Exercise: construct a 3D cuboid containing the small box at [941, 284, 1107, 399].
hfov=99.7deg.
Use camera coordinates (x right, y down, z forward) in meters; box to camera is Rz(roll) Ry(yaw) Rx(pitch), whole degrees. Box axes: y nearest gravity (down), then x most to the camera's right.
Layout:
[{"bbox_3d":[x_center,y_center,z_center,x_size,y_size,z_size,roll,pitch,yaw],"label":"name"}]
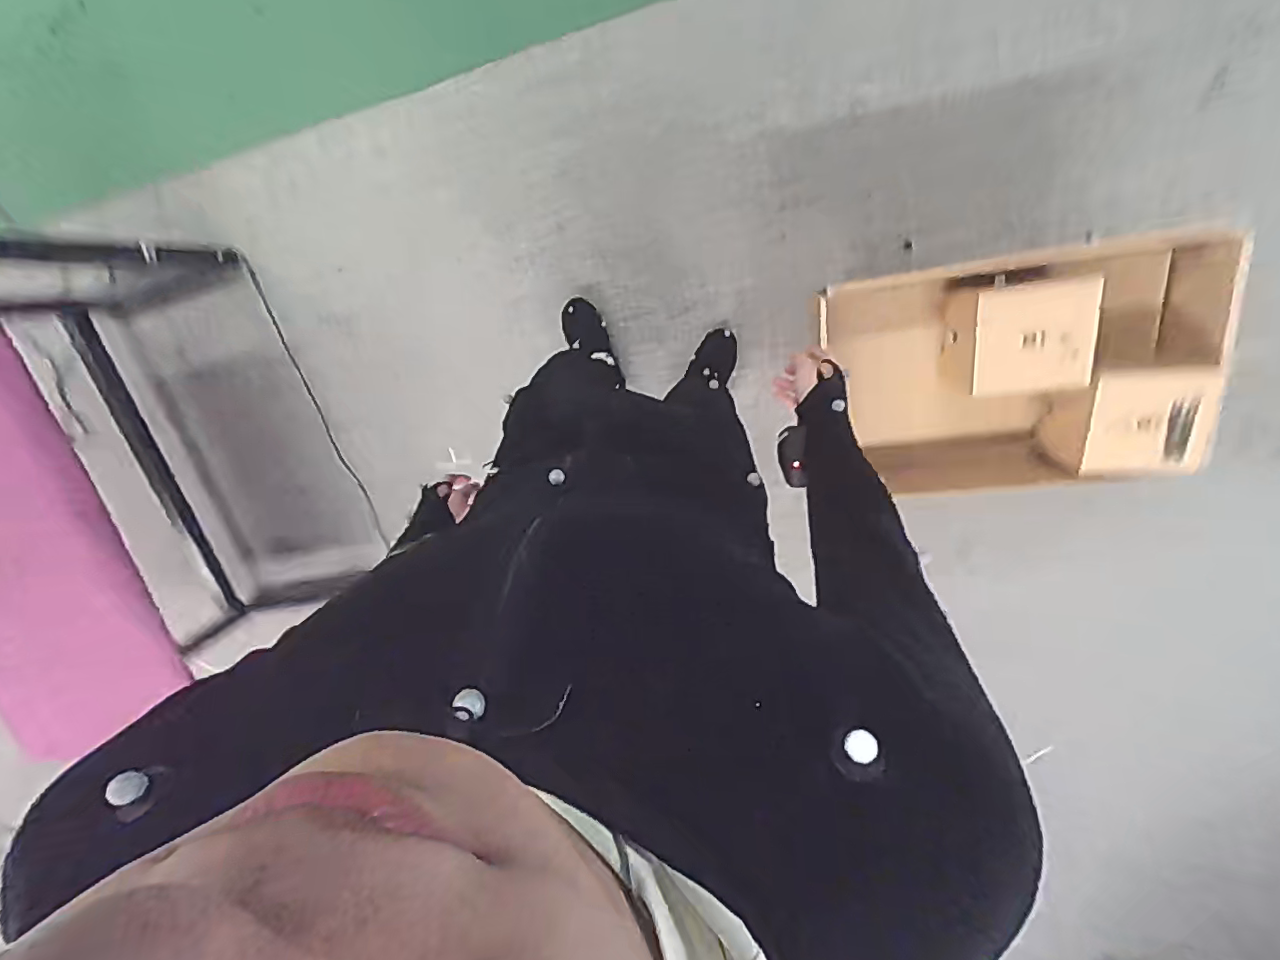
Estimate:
[{"bbox_3d":[0.639,-0.240,0.927,0.179,0.176,0.168,-3,110,11],"label":"small box"}]
